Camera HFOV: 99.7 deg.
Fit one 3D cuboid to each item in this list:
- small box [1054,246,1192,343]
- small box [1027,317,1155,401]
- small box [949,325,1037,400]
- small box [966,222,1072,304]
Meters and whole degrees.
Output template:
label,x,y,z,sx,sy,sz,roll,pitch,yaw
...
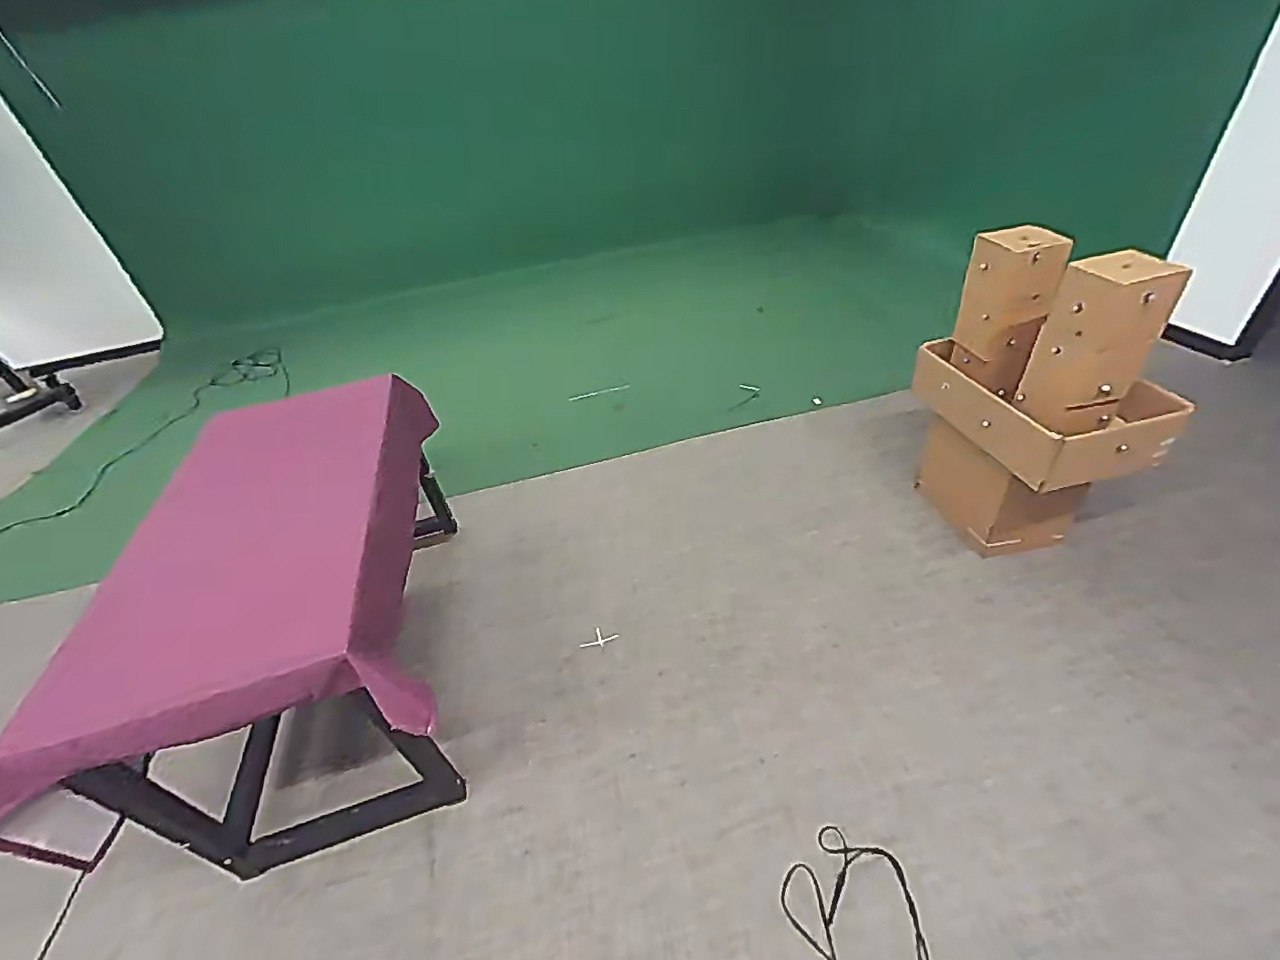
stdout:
label,x,y,z,sx,sy,sz,roll,pitch,yaw
small box,1.169,-0.455,1.332,0.179,0.176,0.168,-13,40,-3
small box,1.185,-0.332,1.441,0.168,0.176,0.179,-11,40,-1
small box,1.153,-0.385,1.778,0.168,0.176,0.179,-13,40,-2
small box,1.088,-0.630,1.571,0.168,0.176,0.179,-12,39,-1
